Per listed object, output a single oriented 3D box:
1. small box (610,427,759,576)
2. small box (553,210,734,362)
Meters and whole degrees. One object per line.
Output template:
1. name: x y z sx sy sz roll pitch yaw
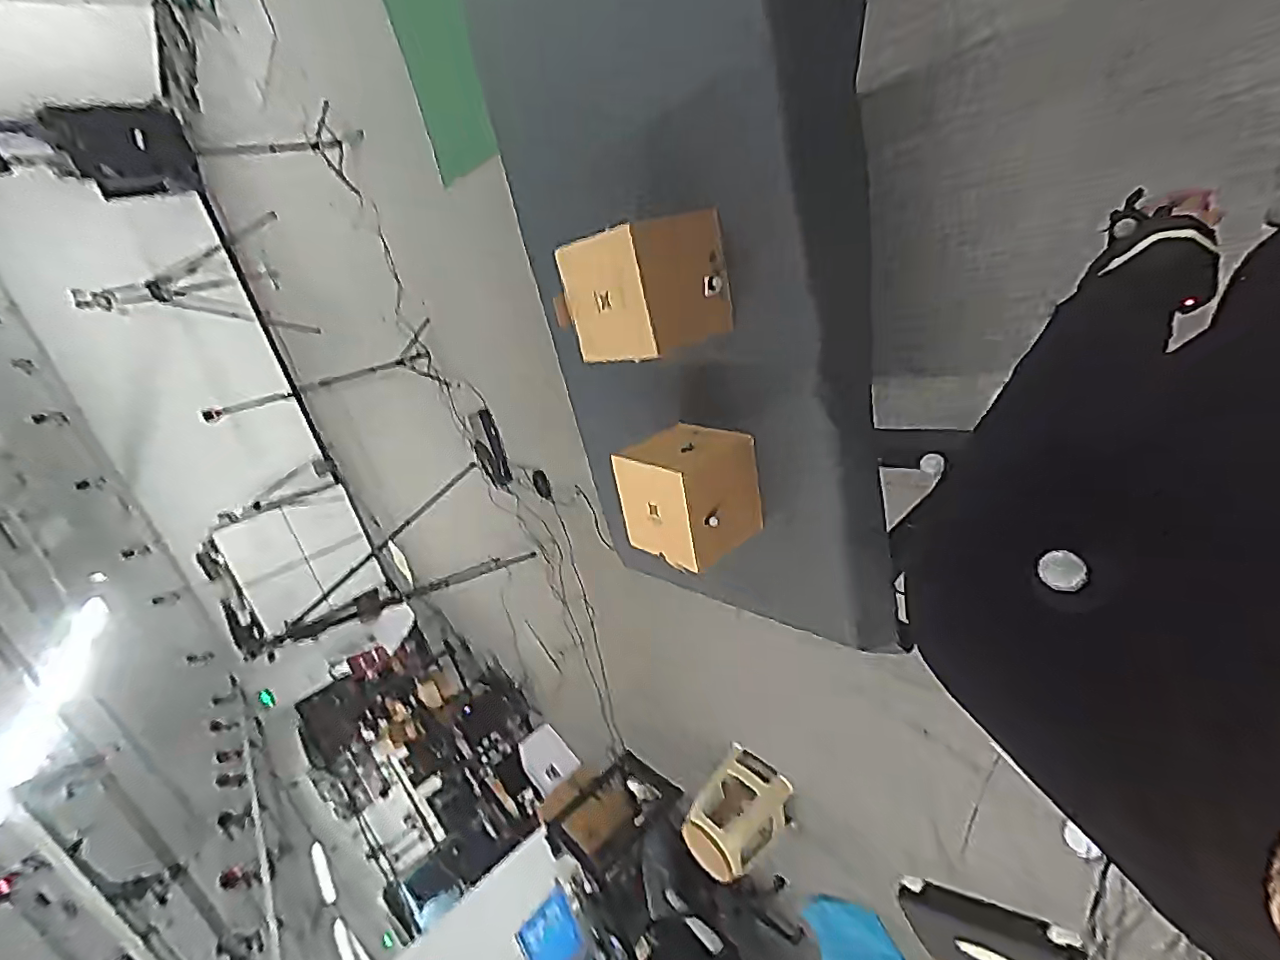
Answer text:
1. small box: 0.079 0.024 0.893 0.168 0.176 0.179 15 125 46
2. small box: 0.007 -0.275 0.779 0.179 0.176 0.168 9 121 48
